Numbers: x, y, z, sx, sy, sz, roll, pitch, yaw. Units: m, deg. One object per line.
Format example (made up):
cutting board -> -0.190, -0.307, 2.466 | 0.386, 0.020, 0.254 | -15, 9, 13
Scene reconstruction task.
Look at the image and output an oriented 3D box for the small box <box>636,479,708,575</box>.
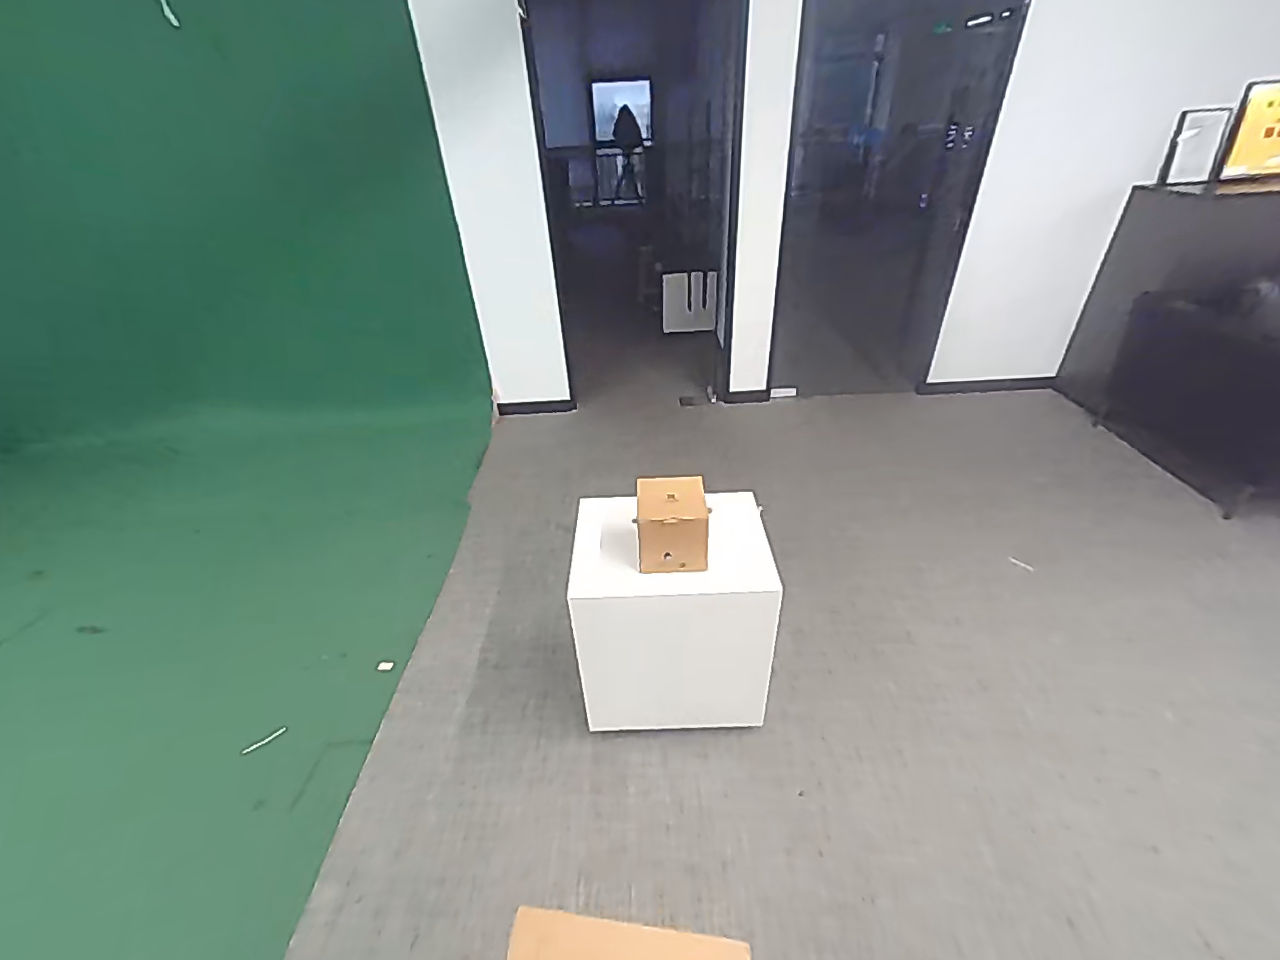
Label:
small box -> 0.074, 0.115, 1.337 | 0.168, 0.176, 0.179 | -3, 33, 0
